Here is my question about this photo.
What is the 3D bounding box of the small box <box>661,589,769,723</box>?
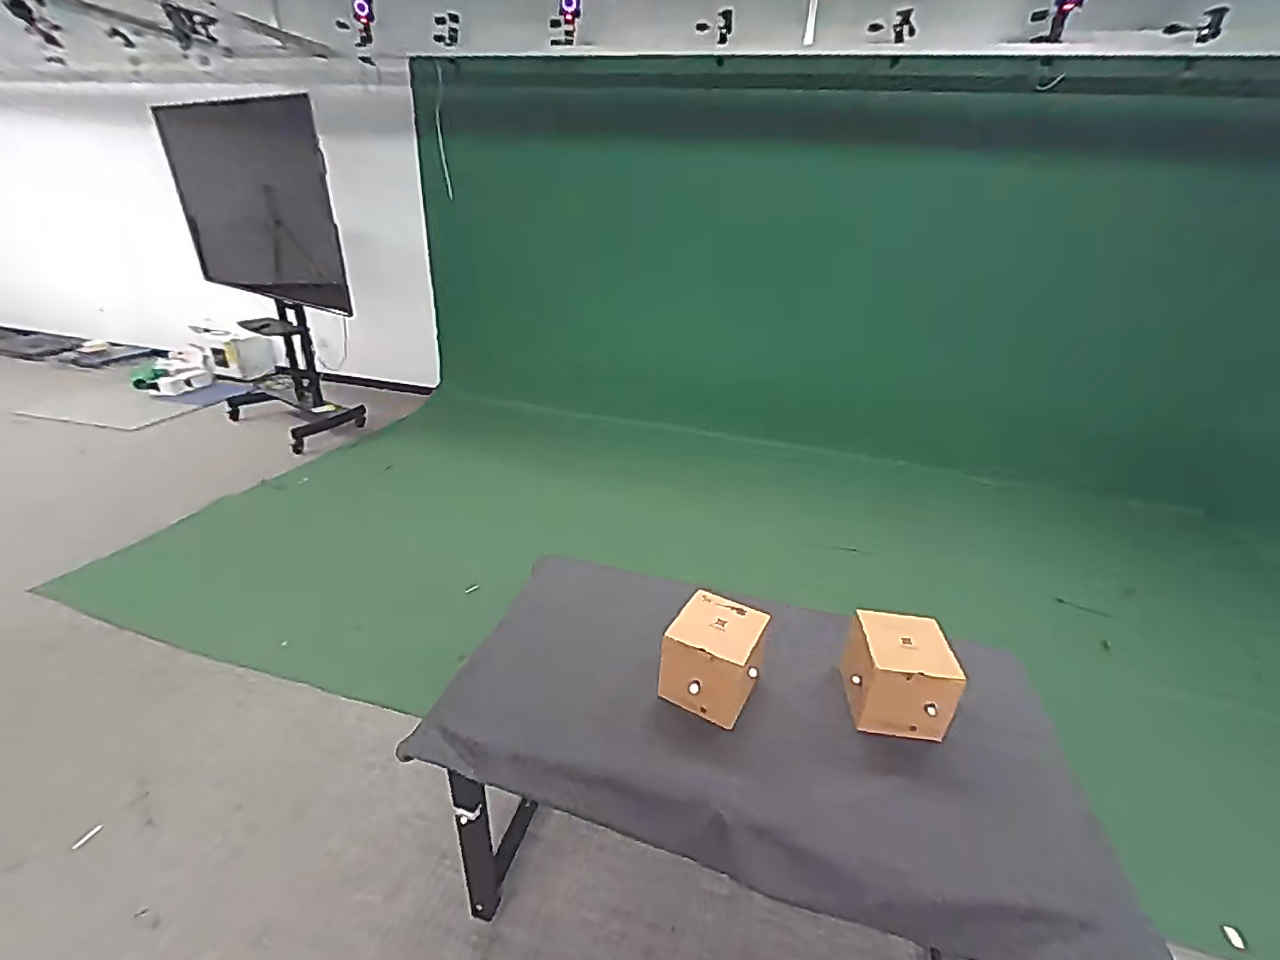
[{"bbox_3d":[0.153,0.363,1.124,0.168,0.176,0.179,18,30,25],"label":"small box"}]

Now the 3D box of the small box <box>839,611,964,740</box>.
[{"bbox_3d":[0.523,0.399,1.109,0.168,0.176,0.179,8,25,4],"label":"small box"}]
